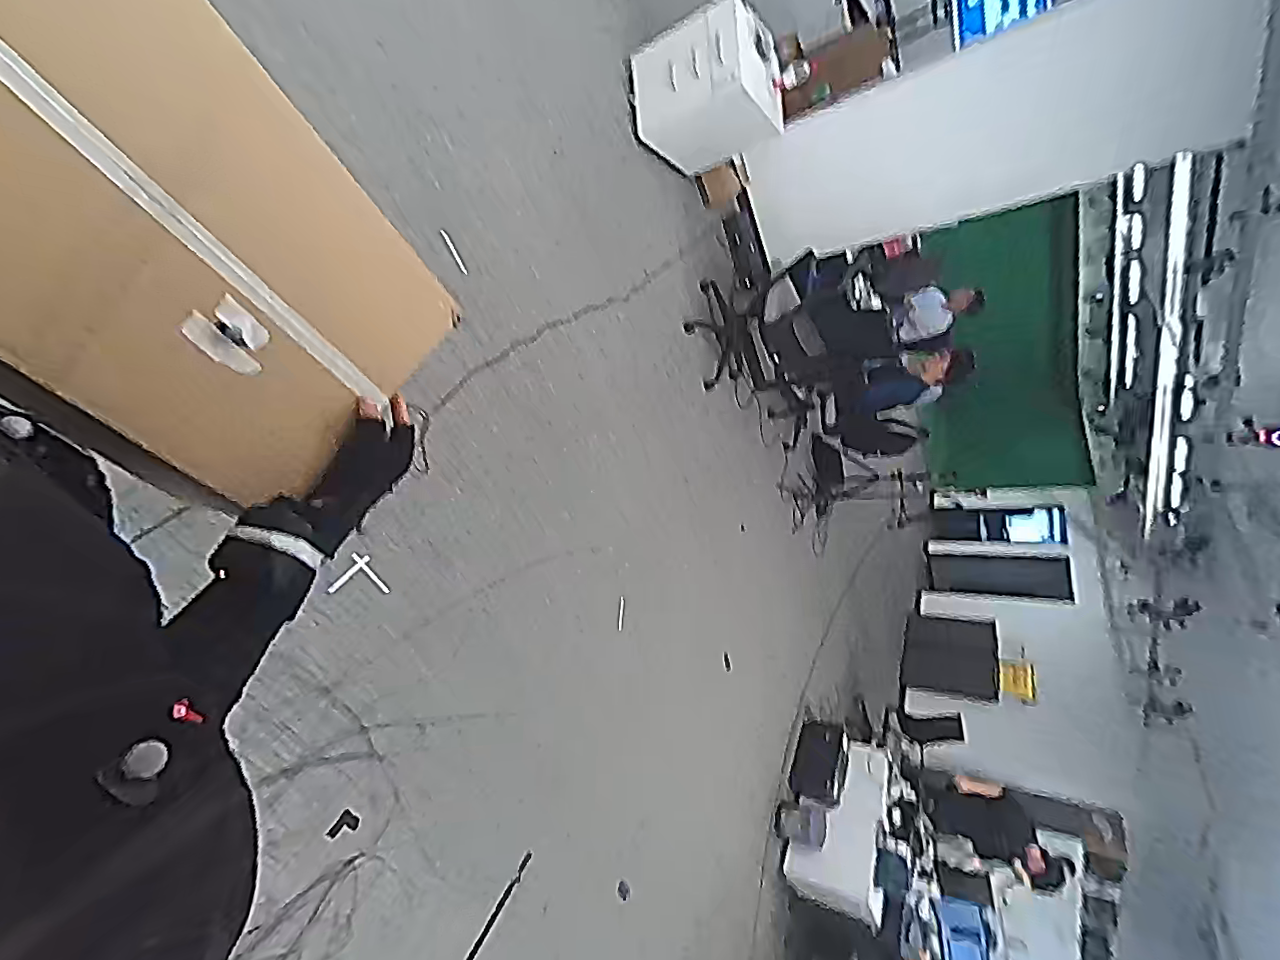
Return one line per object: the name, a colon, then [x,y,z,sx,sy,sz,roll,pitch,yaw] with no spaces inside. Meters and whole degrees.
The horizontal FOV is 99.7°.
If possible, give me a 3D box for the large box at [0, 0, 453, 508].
large box: [-0.492,-0.217,0.540,0.408,0.320,0.320,54,54,-42]
